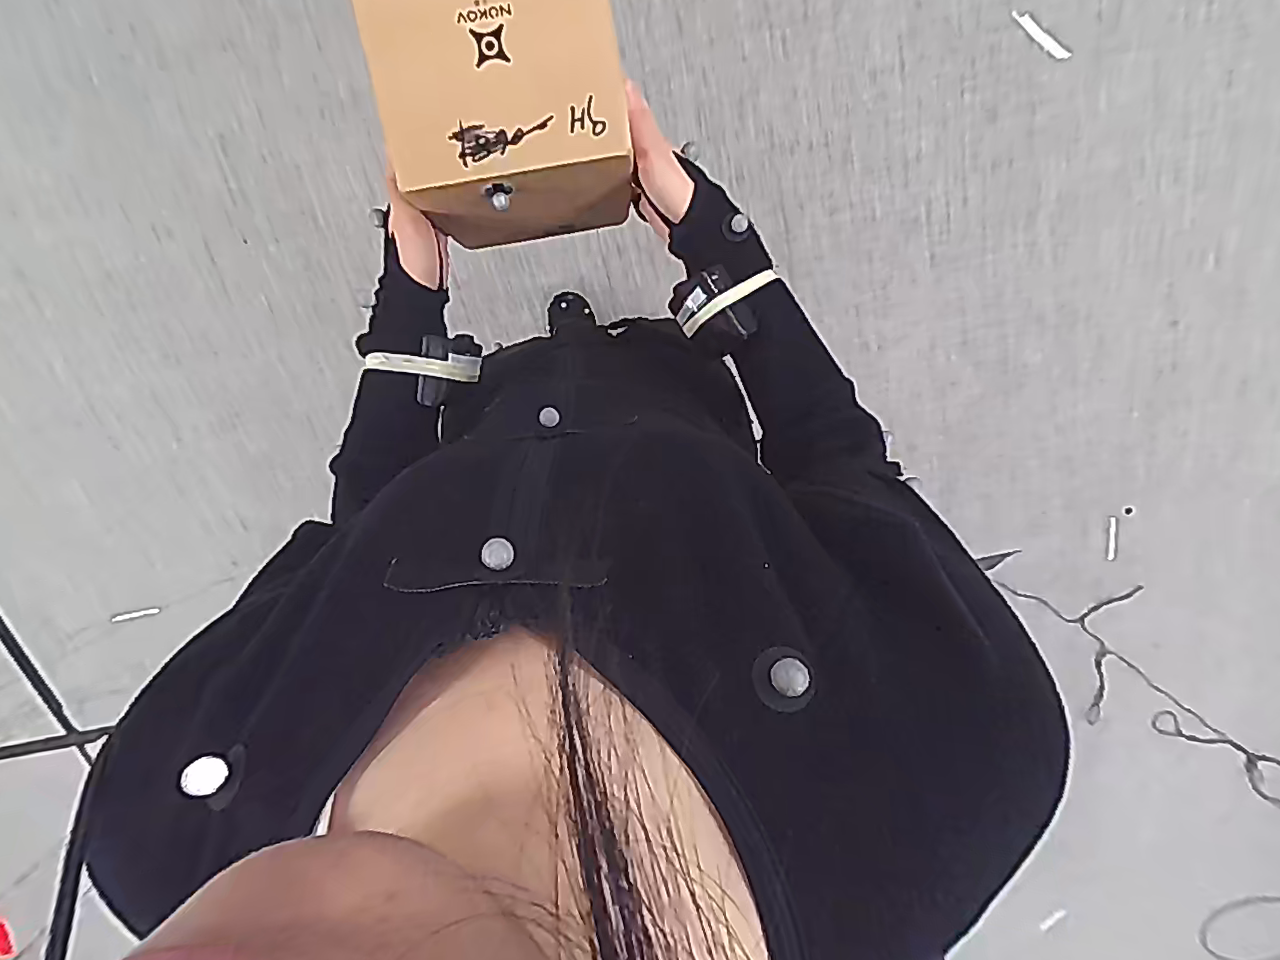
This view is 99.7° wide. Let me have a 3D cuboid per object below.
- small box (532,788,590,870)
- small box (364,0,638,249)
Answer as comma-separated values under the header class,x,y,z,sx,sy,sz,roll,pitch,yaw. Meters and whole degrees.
class,x,y,z,sx,sy,sz,roll,pitch,yaw
small box,-0.261,1.163,1.809,0.179,0.176,0.168,3,107,-4
small box,-0.099,-0.307,0.434,0.168,0.176,0.179,-10,100,-1
